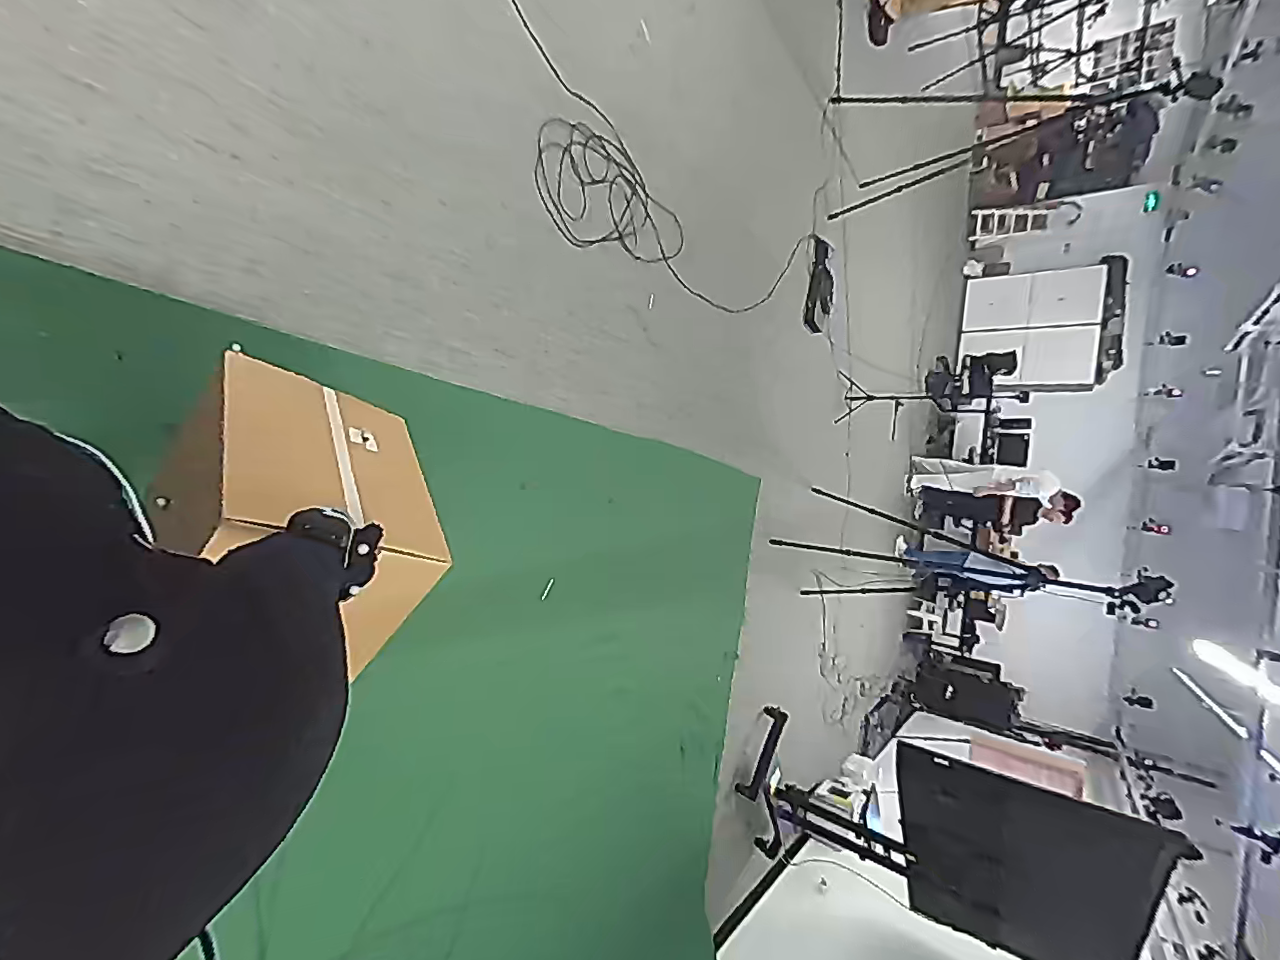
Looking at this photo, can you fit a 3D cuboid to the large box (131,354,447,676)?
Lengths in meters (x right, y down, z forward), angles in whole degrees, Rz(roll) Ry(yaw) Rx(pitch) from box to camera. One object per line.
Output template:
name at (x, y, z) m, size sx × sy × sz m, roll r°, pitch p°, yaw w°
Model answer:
large box at (-0.587, 0.068, 0.910) m, size 0.320 × 0.408 × 0.320 m, roll -47°, pitch 141°, yaw 14°
